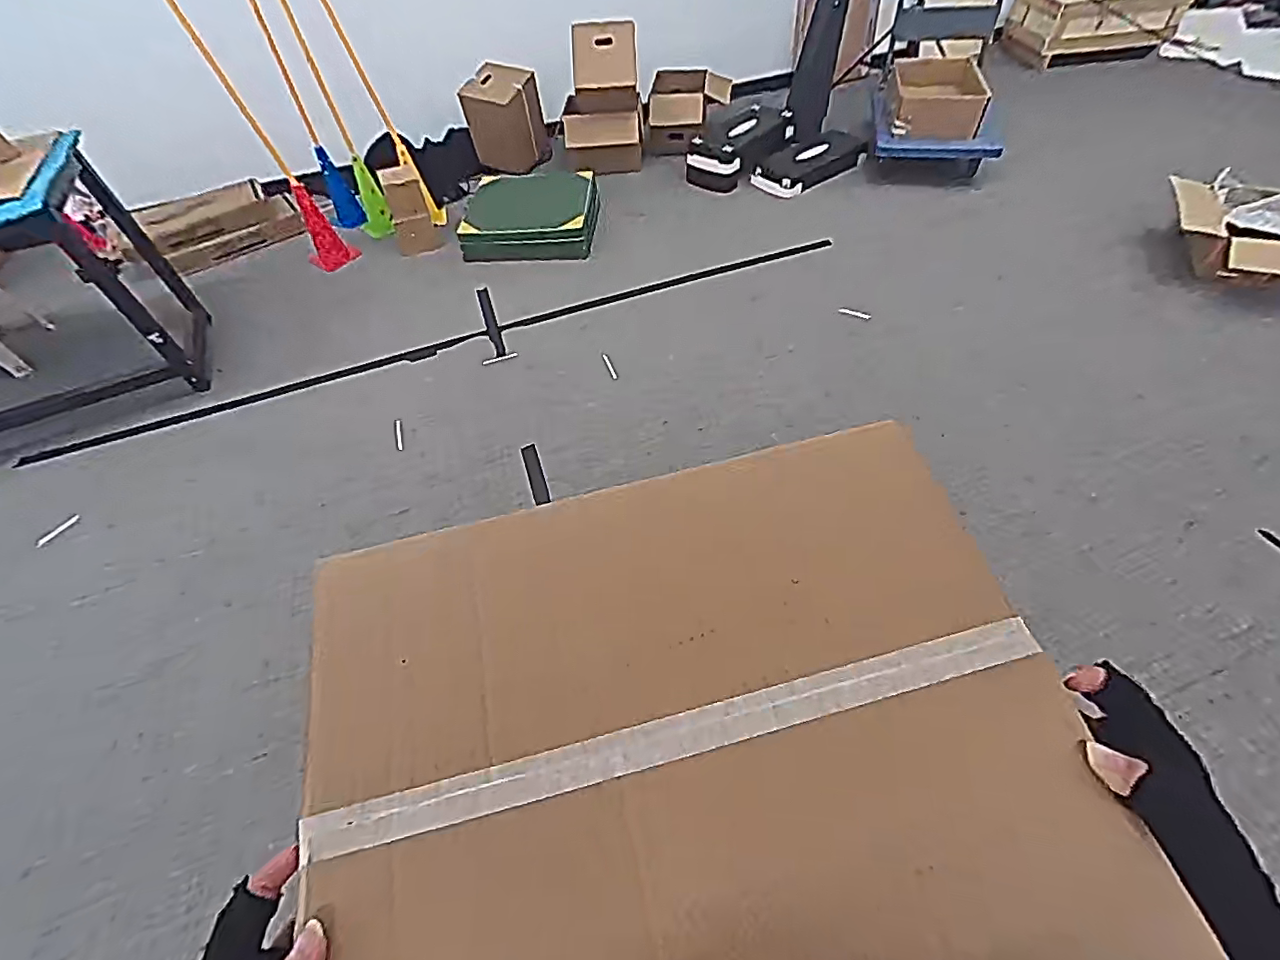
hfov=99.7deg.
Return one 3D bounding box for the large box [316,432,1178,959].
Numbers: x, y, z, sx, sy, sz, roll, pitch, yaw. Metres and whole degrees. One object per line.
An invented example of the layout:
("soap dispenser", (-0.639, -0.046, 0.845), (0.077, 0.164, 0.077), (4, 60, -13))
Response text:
("large box", (0.032, 0.212, 0.434), (0.408, 0.320, 0.320), (-14, 60, -4))
